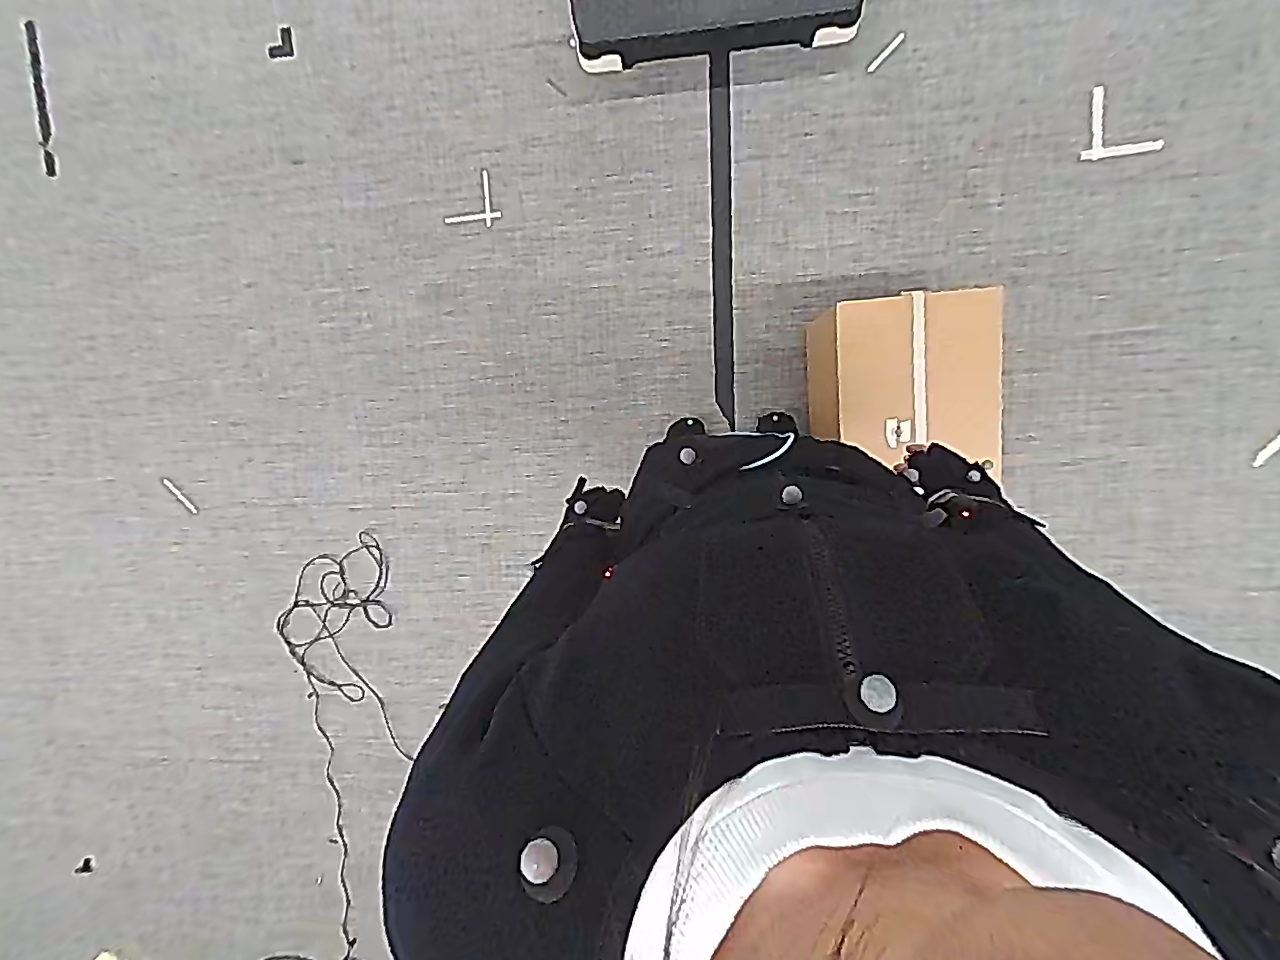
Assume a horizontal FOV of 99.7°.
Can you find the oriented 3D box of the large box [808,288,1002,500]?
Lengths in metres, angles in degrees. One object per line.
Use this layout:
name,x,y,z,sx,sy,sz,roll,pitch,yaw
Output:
large box,0.578,-0.188,1.230,0.320,0.320,0.408,-4,98,8
